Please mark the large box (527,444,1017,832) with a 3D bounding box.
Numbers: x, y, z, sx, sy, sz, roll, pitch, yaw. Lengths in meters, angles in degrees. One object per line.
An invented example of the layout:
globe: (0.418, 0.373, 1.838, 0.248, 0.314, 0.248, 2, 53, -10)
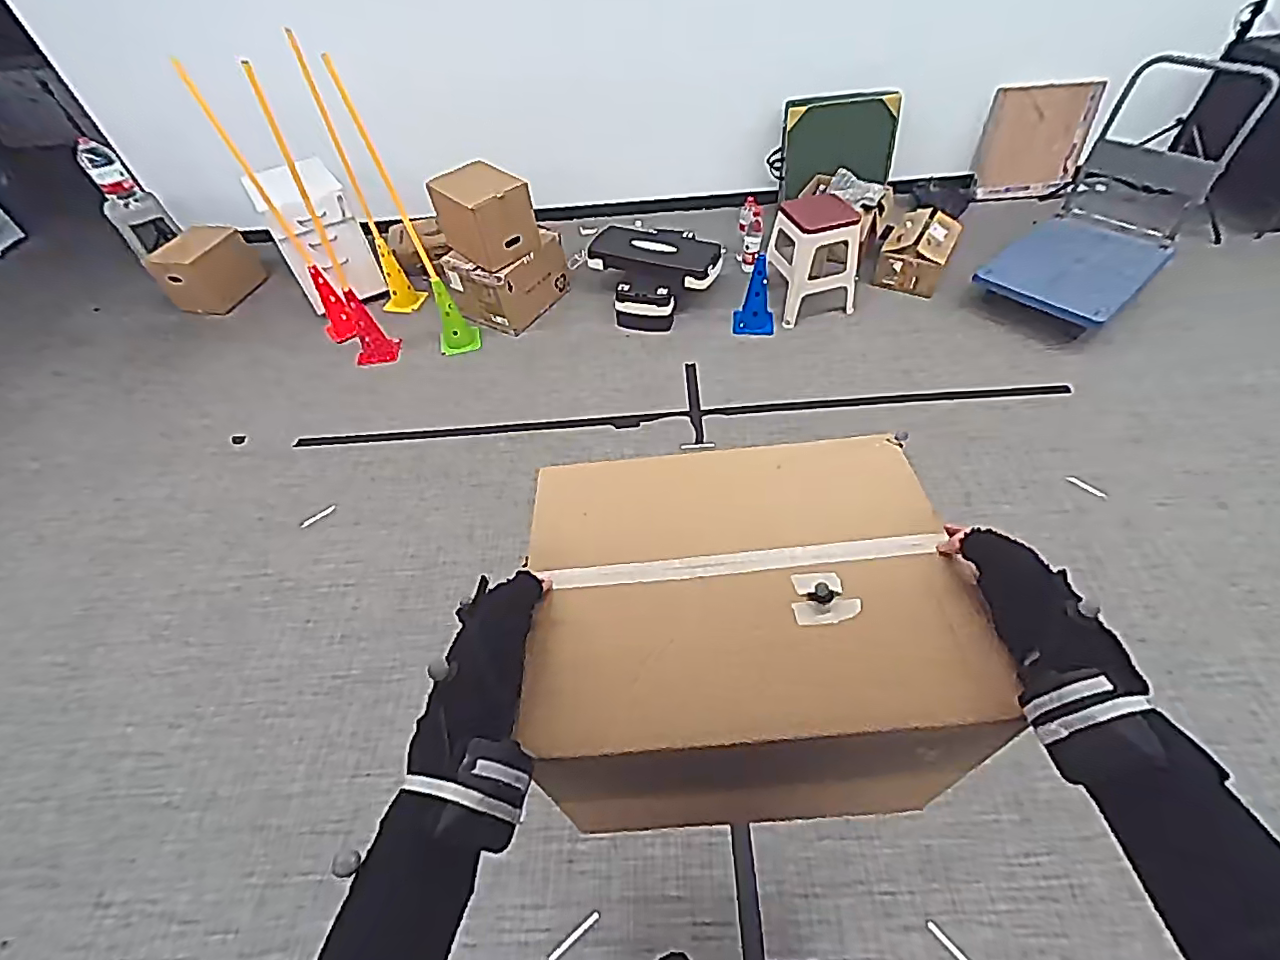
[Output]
large box: (0.107, 0.191, 0.639, 0.408, 0.320, 0.320, -6, 48, 2)
